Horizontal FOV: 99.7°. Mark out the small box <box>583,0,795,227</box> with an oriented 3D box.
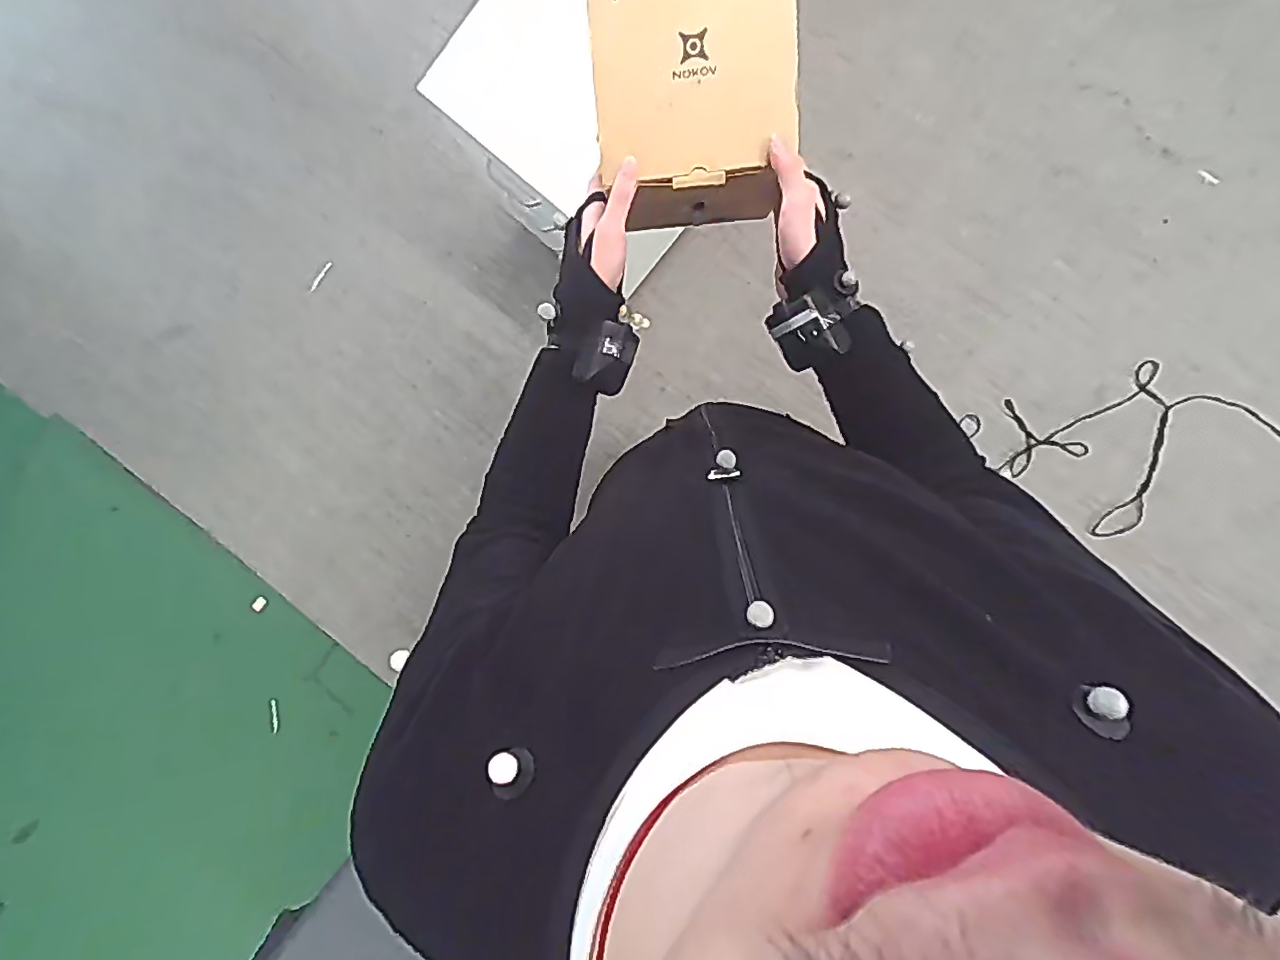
[{"bbox_3d":[0.049,-0.356,0.519,0.168,0.176,0.179,-6,101,7],"label":"small box"}]
